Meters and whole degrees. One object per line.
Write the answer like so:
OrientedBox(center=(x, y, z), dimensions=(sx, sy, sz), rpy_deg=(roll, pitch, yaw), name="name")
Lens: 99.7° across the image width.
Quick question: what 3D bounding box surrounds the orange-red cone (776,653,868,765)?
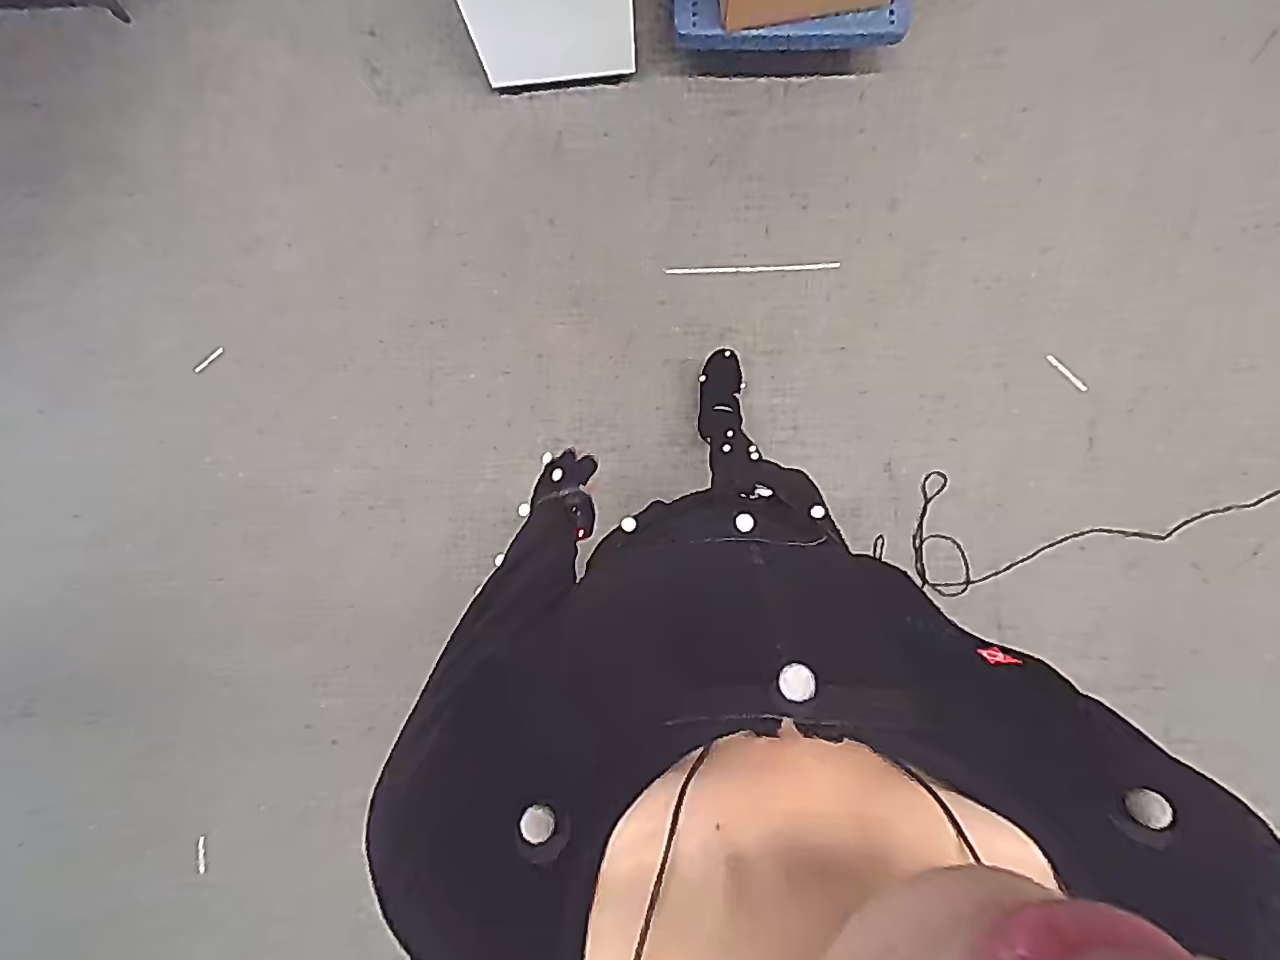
OrientedBox(center=(0.474, 0.585, 1.317), dimensions=(0.198, 0.360, 0.199), rpy_deg=(4, 92, 2), name="orange-red cone")
